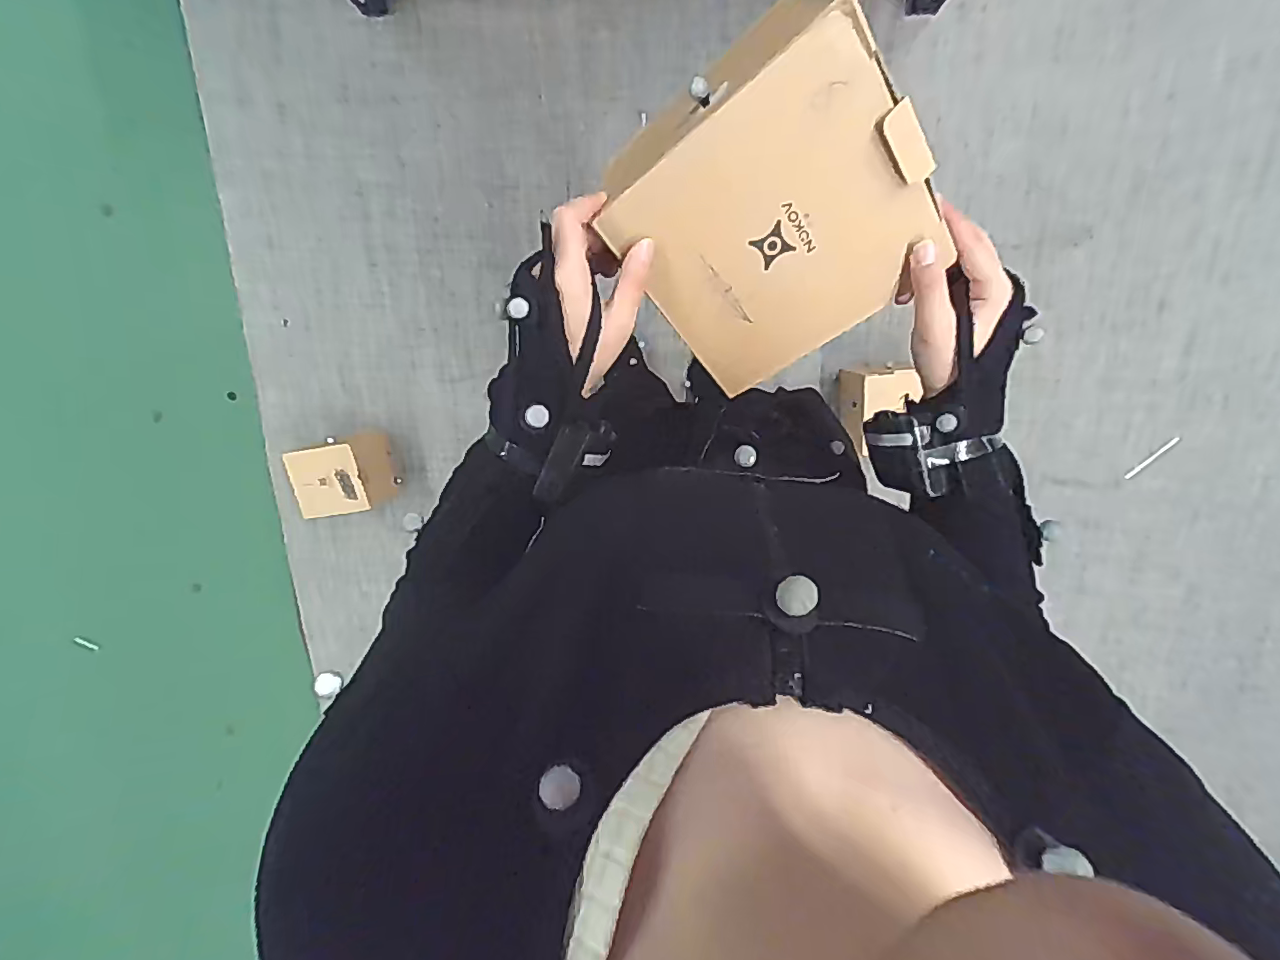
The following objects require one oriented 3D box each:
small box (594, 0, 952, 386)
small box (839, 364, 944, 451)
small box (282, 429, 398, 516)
[{"bbox_3d":[0.087,-0.211,0.402,0.179,0.176,0.168,-30,123,26],"label":"small box"},{"bbox_3d":[0.556,-0.169,1.216,0.168,0.176,0.179,-4,105,4],"label":"small box"},{"bbox_3d":[-0.724,-0.025,1.334,0.179,0.176,0.168,-8,105,7],"label":"small box"}]
